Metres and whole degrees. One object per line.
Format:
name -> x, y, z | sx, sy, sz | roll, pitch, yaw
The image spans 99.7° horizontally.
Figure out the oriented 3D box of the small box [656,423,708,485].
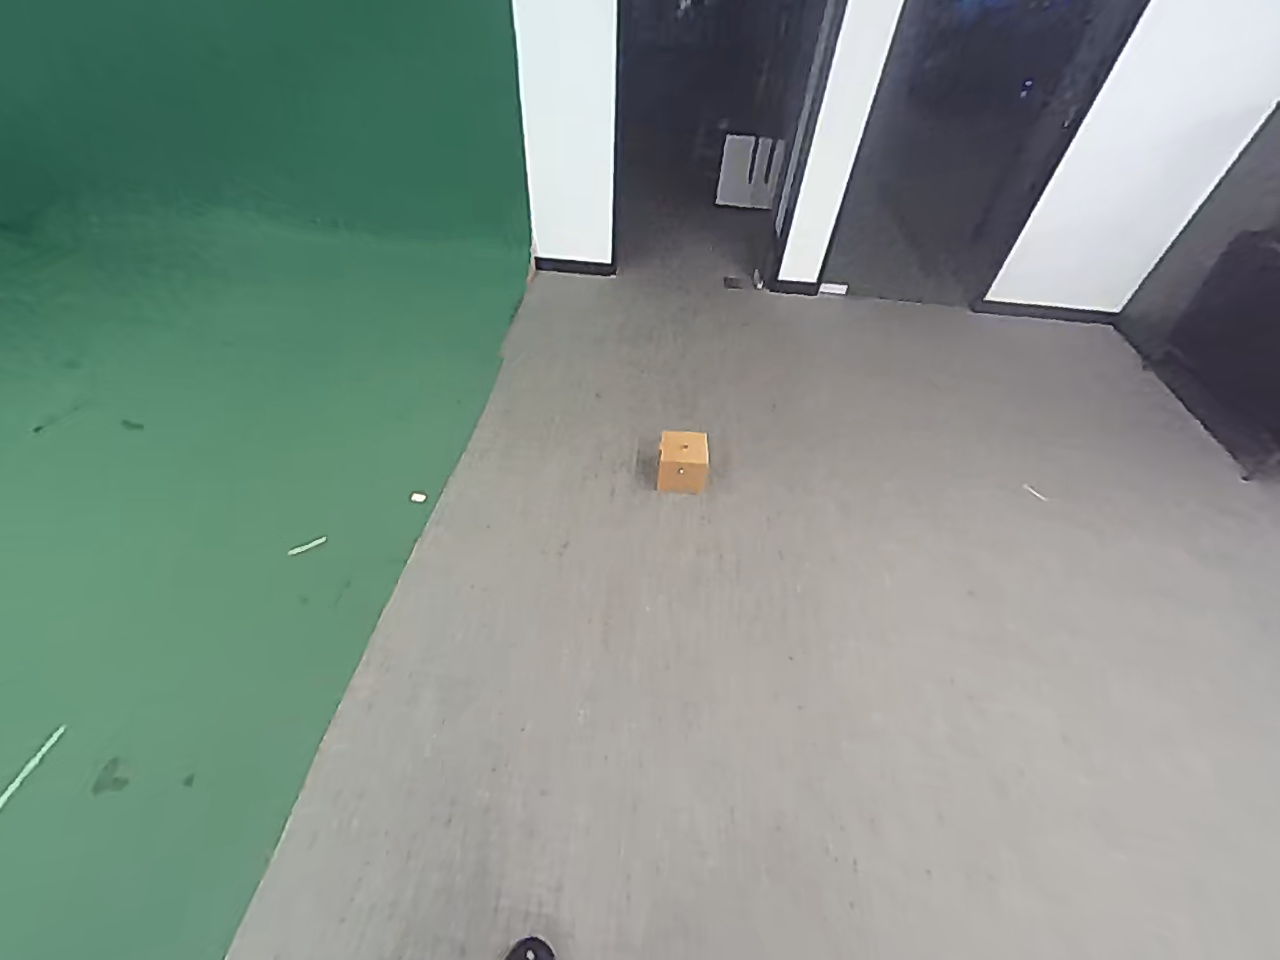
small box -> 0.155, -0.094, 2.036 | 0.179, 0.176, 0.168 | 3, 48, -1
